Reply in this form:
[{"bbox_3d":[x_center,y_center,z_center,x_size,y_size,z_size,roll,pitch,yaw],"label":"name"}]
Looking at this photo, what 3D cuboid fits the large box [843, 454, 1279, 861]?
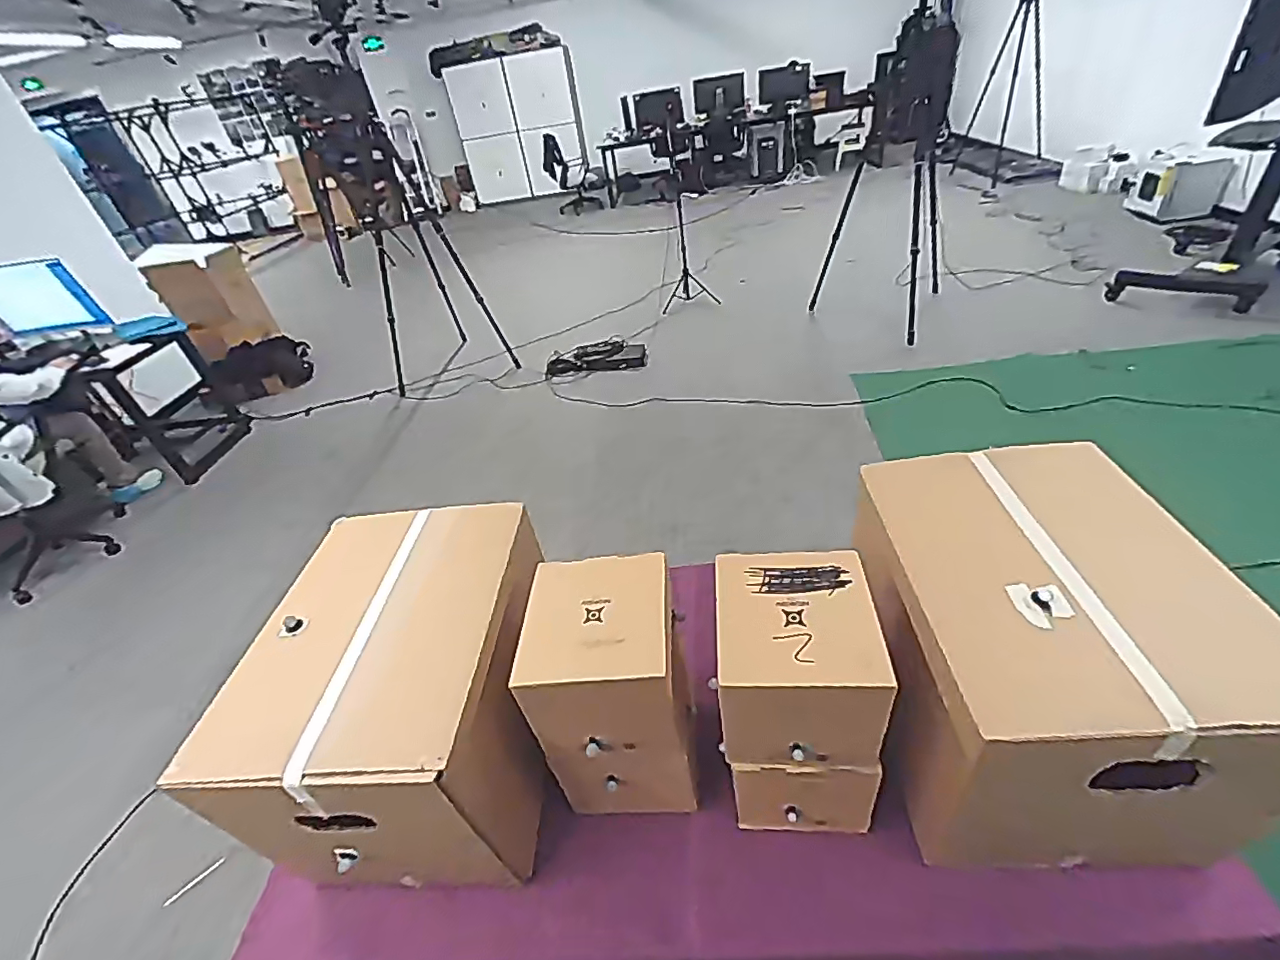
[{"bbox_3d":[0.486,0.213,0.706,0.320,0.320,0.408,-5,38,7],"label":"large box"}]
